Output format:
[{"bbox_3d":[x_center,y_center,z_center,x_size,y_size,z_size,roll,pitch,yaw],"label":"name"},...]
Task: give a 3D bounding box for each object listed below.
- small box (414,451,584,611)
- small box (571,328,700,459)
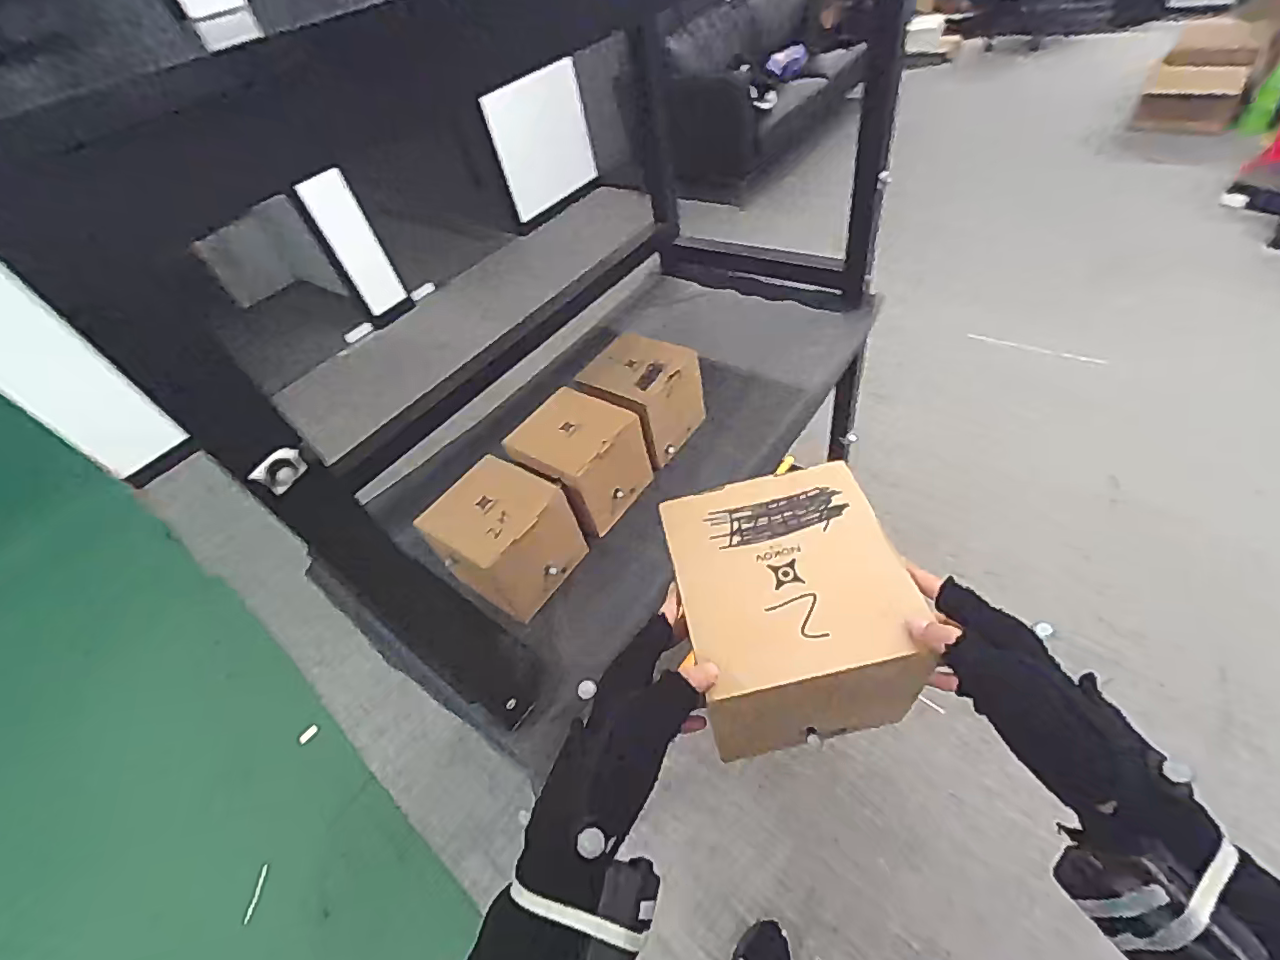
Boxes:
[{"bbox_3d":[-0.221,0.085,0.883,0.179,0.176,0.168,23,58,30],"label":"small box"},{"bbox_3d":[0.001,-0.165,1.051,0.179,0.176,0.168,23,58,31],"label":"small box"}]
